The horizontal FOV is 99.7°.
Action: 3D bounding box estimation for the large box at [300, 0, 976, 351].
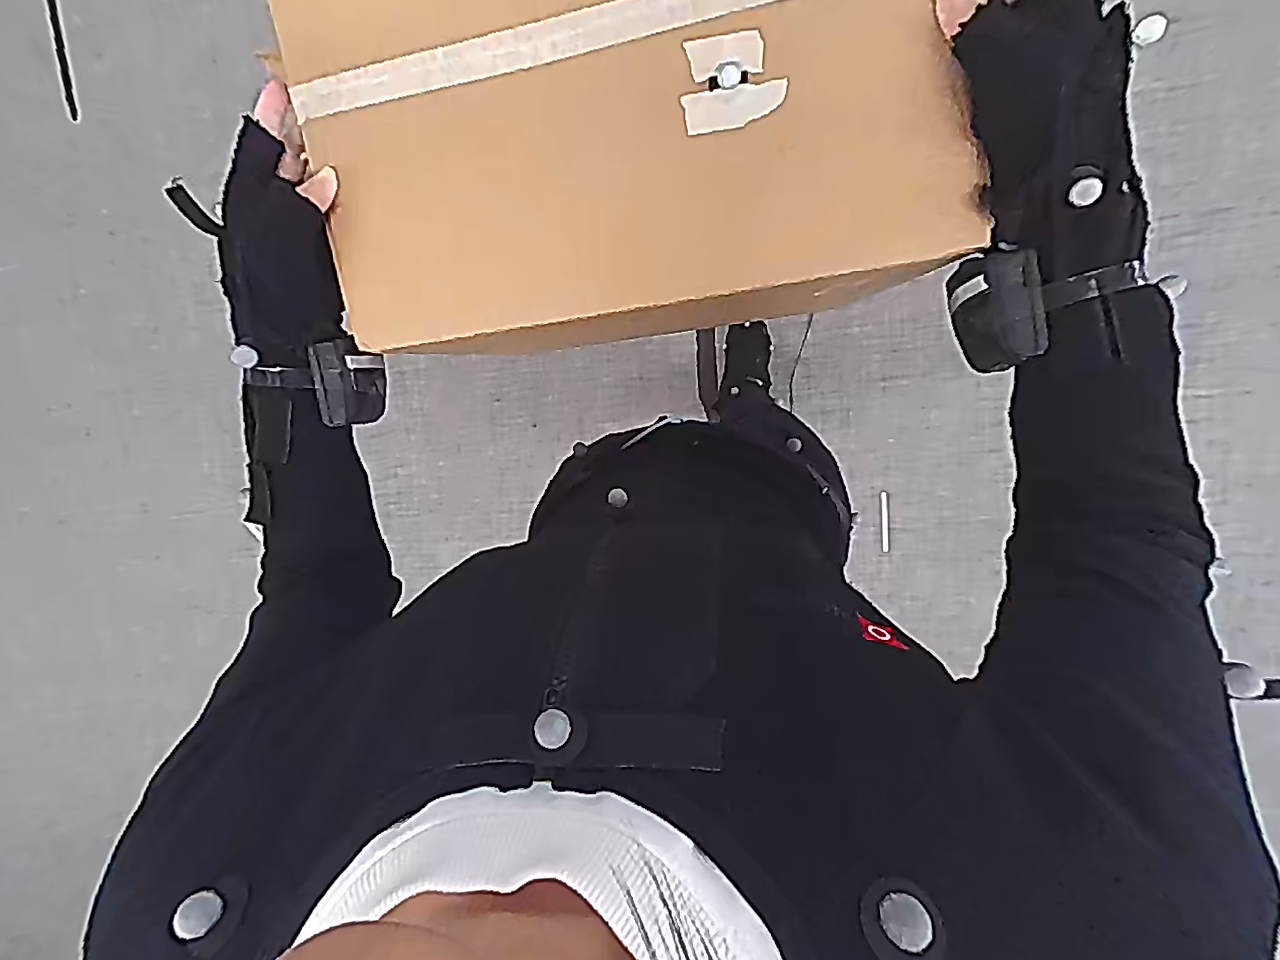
[{"bbox_3d":[0.002,-0.302,0.472,0.408,0.320,0.320,-7,102,8],"label":"large box"}]
